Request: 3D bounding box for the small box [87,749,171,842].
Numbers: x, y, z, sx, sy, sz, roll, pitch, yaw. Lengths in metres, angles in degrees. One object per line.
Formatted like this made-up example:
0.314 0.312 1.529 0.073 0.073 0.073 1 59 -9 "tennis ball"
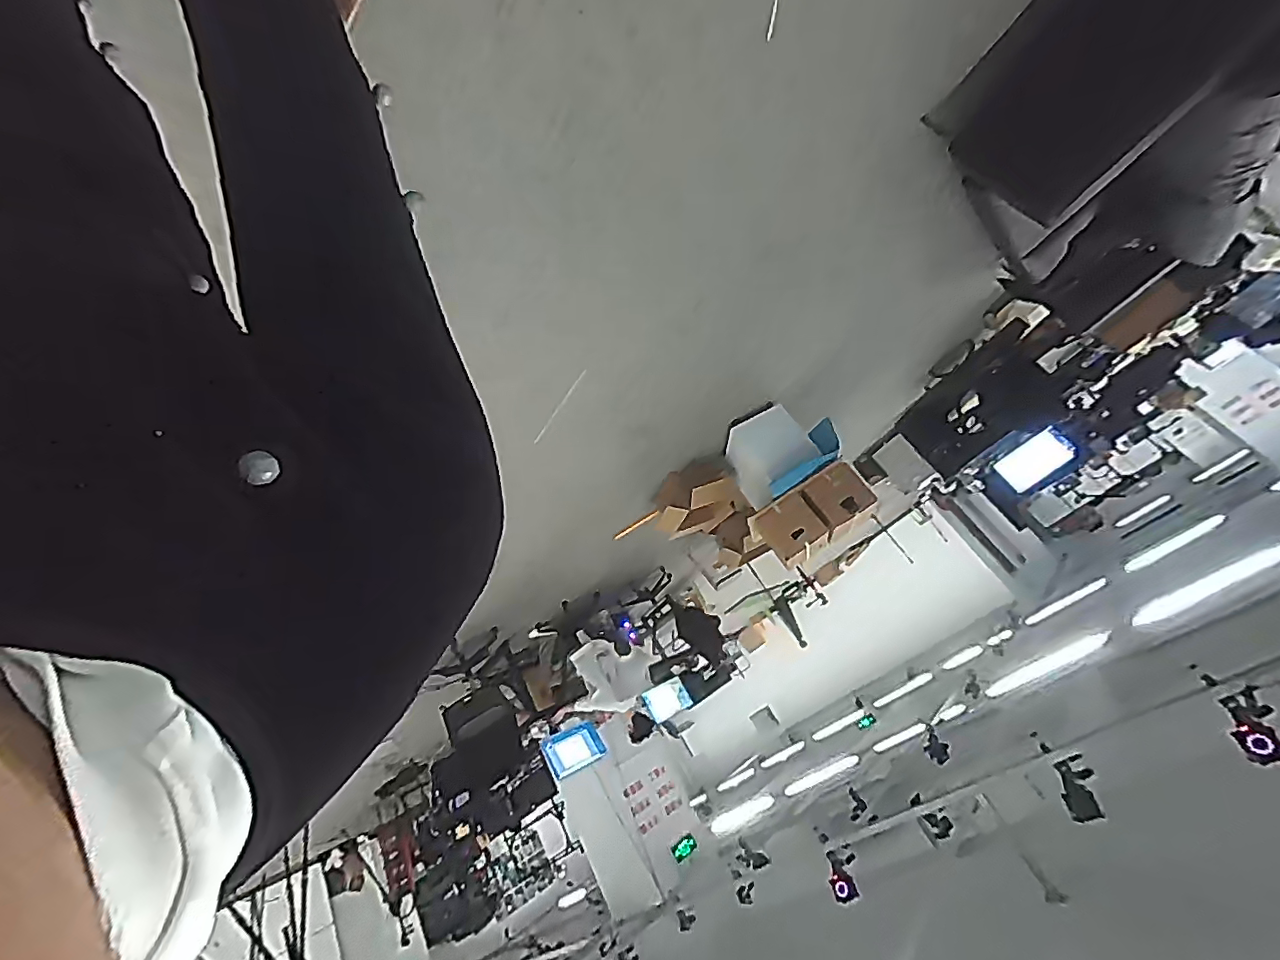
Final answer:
-1.517 0.926 1.602 0.168 0.176 0.179 0 143 -48 "small box"
